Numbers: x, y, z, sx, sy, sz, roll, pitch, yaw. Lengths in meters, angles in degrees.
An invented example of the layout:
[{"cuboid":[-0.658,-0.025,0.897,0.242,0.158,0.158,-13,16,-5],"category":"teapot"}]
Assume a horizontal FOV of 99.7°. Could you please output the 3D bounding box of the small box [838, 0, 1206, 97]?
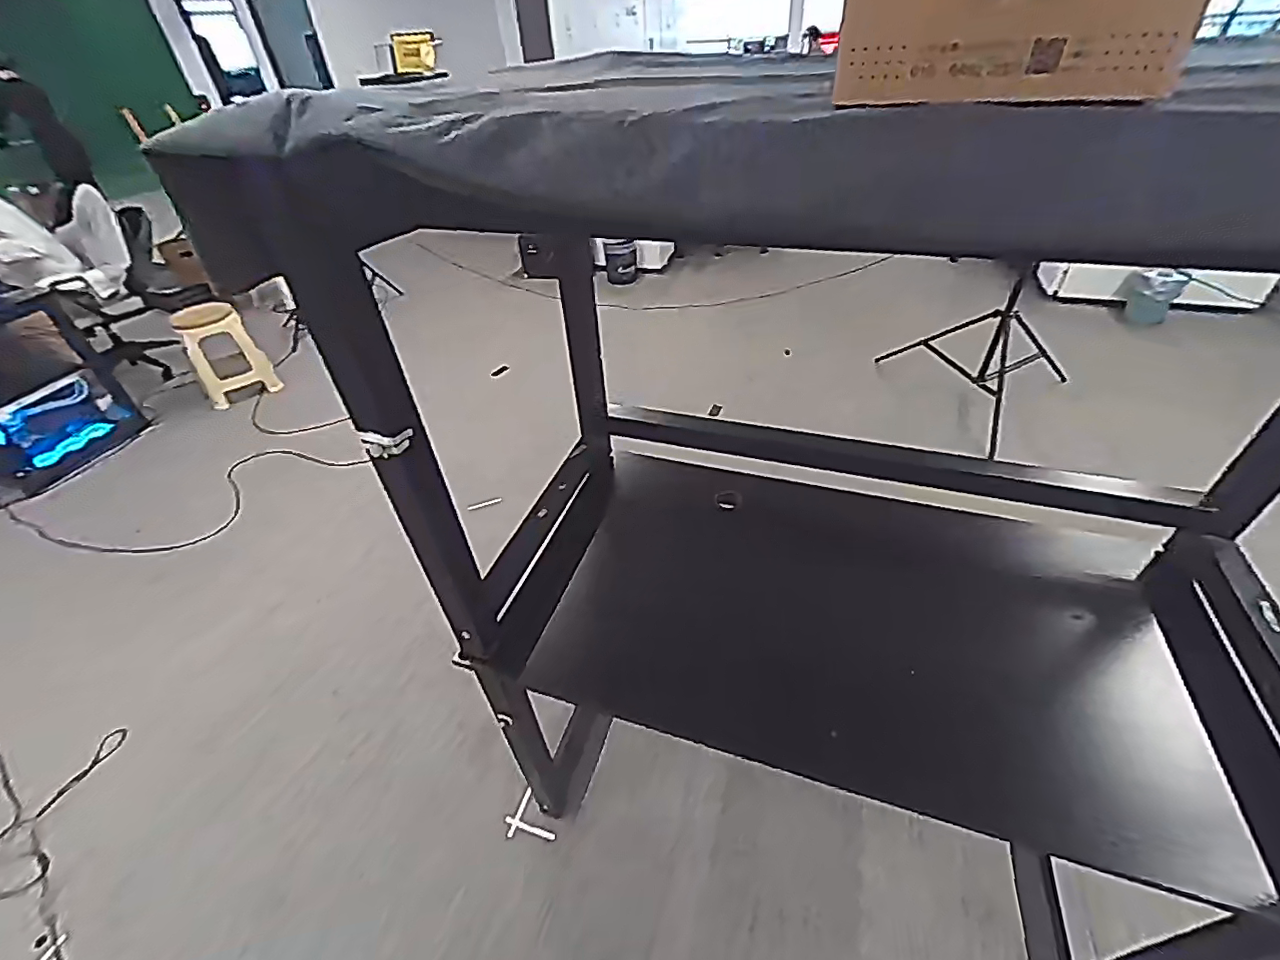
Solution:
[{"cuboid":[0.214,-0.325,0.305,0.168,0.176,0.179,10,40,17],"category":"small box"}]
